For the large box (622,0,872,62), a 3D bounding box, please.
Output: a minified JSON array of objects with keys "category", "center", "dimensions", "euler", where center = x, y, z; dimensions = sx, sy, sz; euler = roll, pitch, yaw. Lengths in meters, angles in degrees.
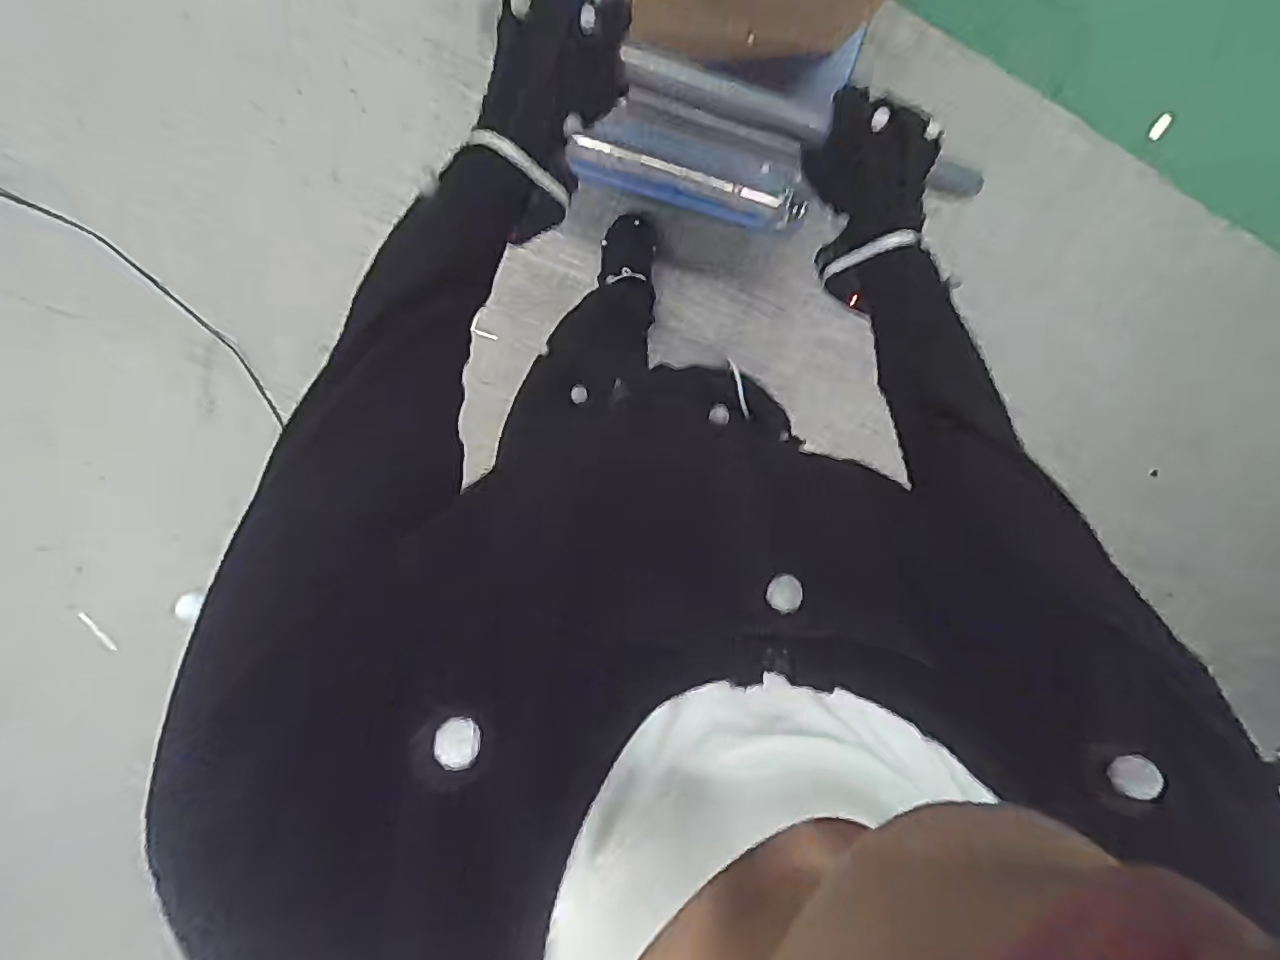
[{"category":"large box","center":[0.167,-0.890,0.821],"dimensions":[0.408,0.320,0.320],"euler":[-6,110,-1]}]
